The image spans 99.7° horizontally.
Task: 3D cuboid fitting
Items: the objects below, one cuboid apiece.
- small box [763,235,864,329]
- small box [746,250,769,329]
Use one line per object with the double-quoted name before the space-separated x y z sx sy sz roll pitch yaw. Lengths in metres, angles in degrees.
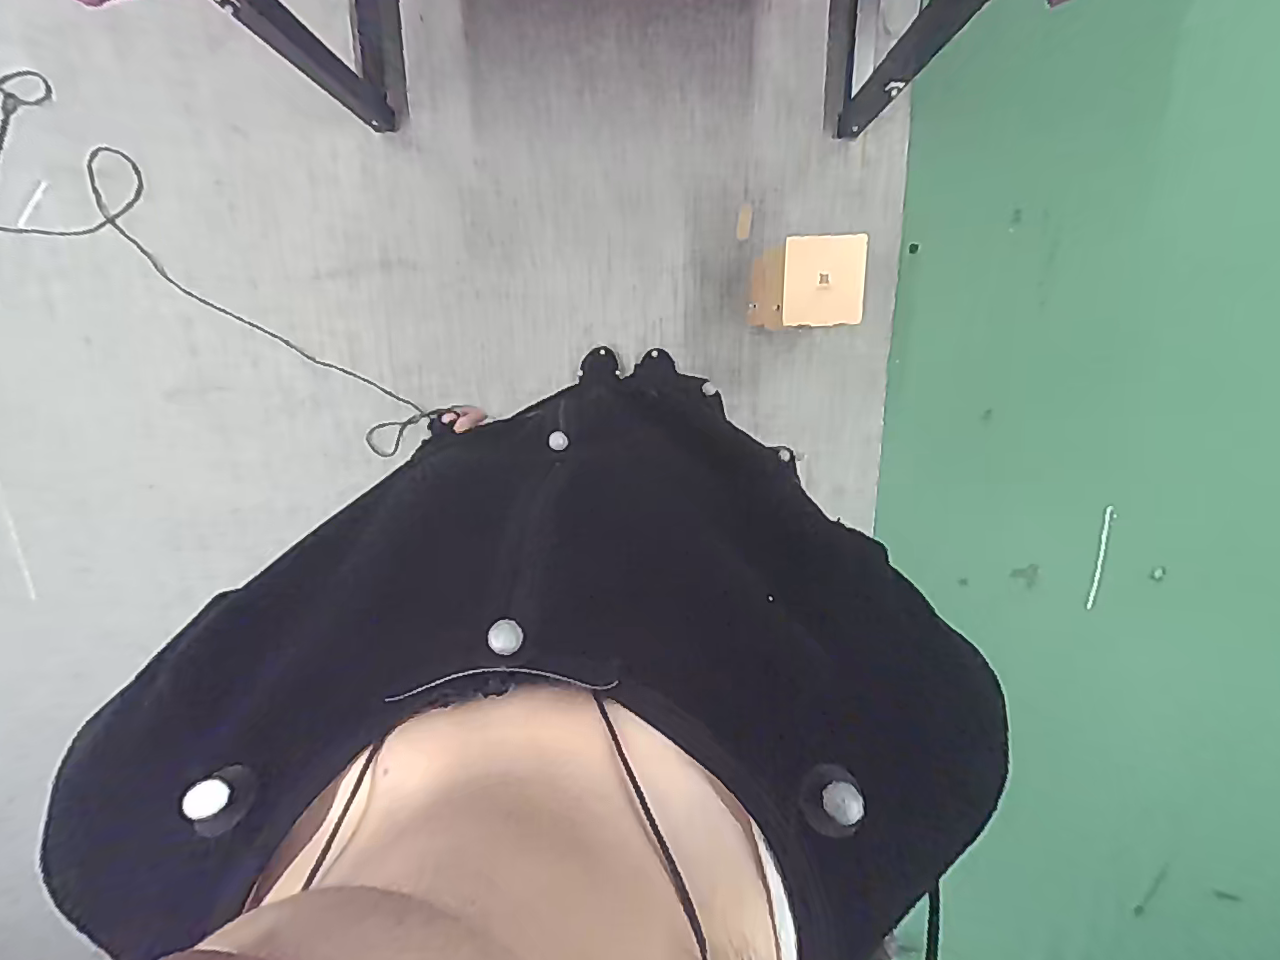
"small box" 0.368 -0.422 1.175 0.168 0.176 0.179 -1 105 1
"small box" 0.363 -0.462 1.332 0.179 0.176 0.168 1 104 0
